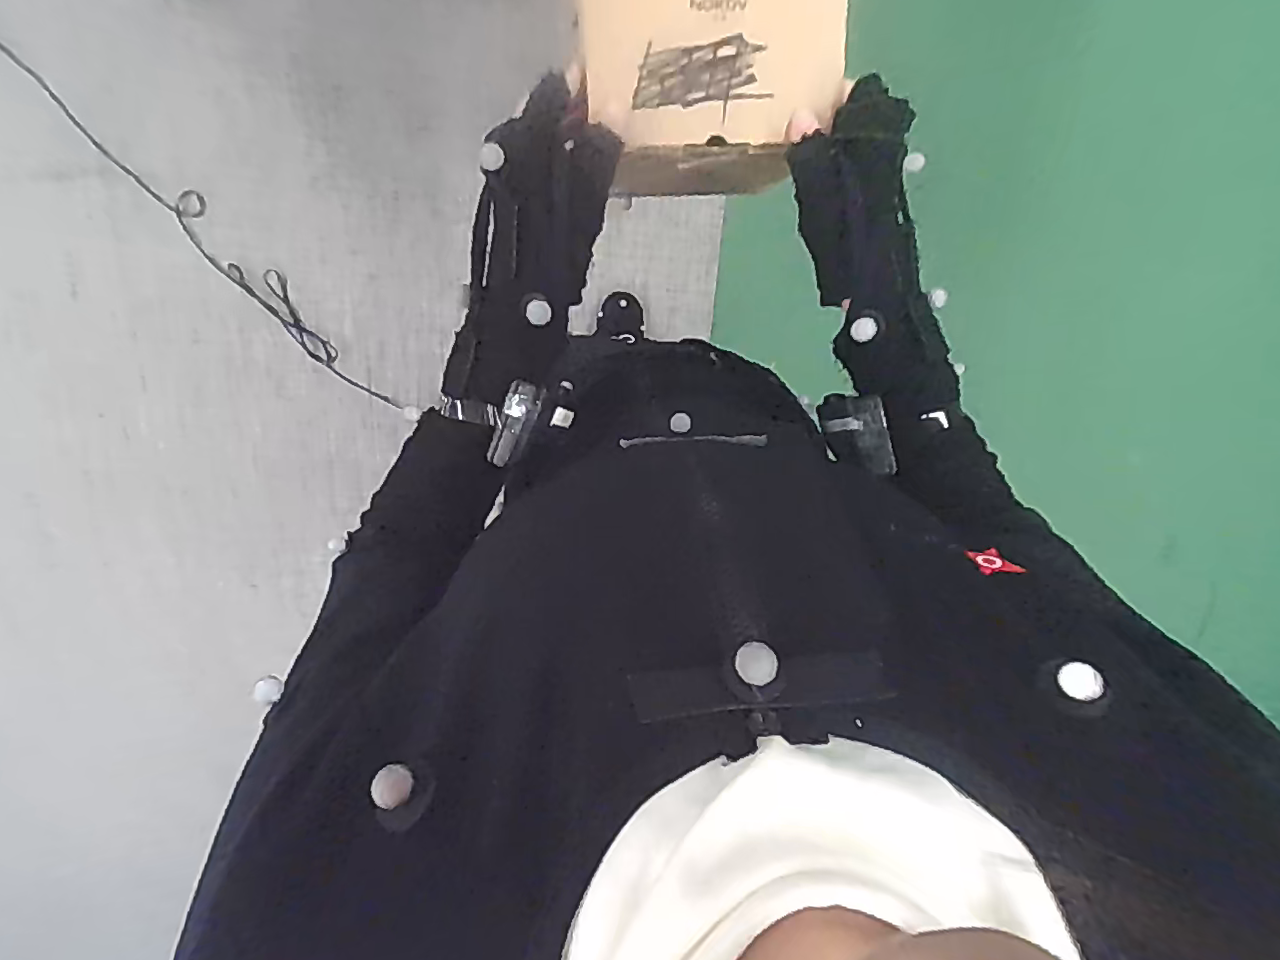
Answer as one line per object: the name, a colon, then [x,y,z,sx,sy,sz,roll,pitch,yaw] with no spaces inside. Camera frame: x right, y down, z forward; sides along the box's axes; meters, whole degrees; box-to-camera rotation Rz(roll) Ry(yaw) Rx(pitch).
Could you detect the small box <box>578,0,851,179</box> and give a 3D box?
small box: [0.039,-0.328,0.392,0.168,0.176,0.179,-4,108,-5]
